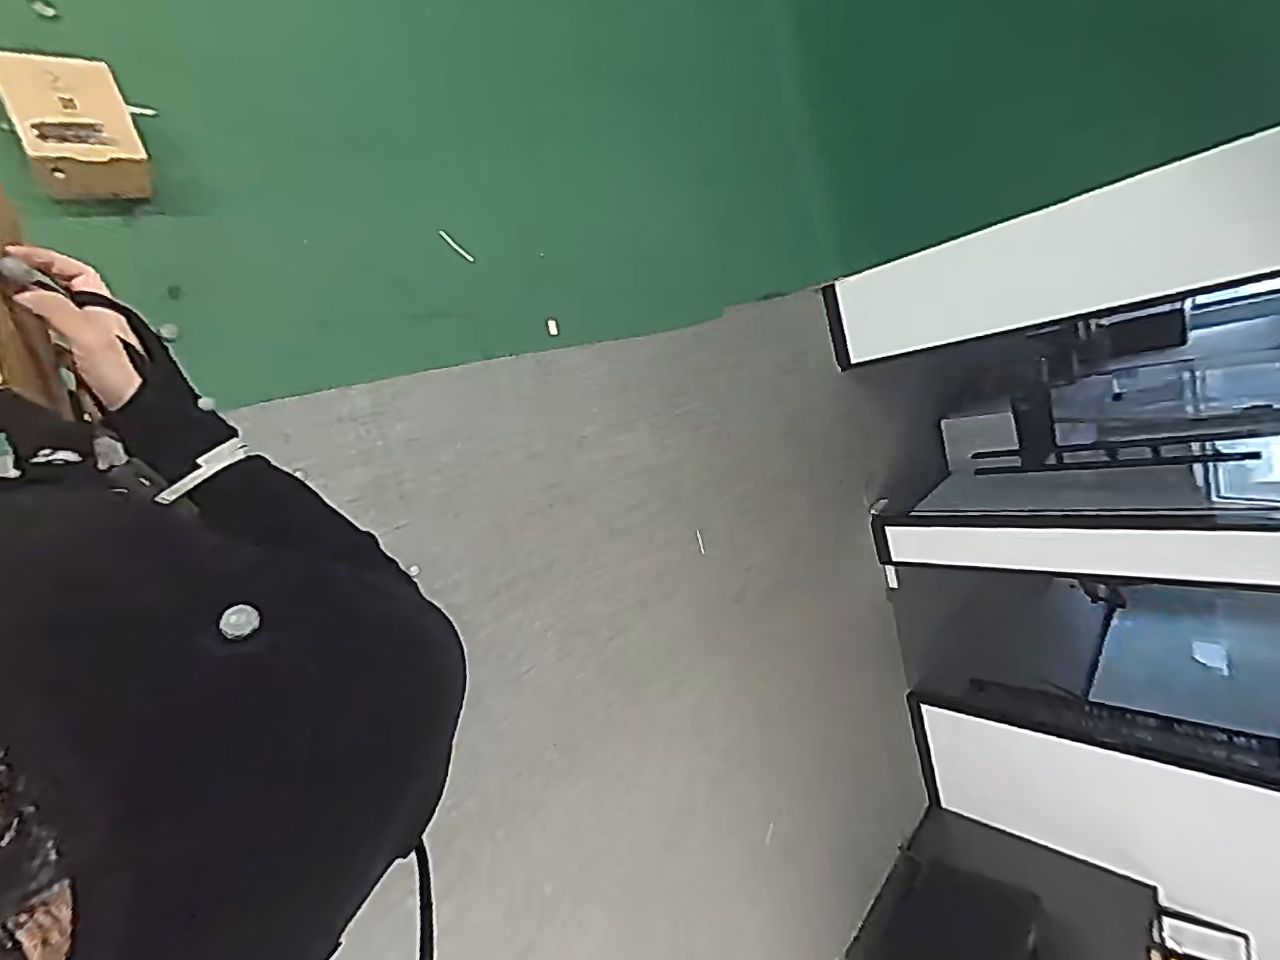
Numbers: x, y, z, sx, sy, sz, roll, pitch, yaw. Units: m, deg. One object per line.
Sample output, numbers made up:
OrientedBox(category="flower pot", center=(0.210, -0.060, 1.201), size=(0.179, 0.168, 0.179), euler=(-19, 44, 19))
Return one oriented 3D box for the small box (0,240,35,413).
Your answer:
OrientedBox(category="small box", center=(-0.488, -0.130, 0.300), size=(0.168, 0.176, 0.179), euler=(-13, 97, -39))
